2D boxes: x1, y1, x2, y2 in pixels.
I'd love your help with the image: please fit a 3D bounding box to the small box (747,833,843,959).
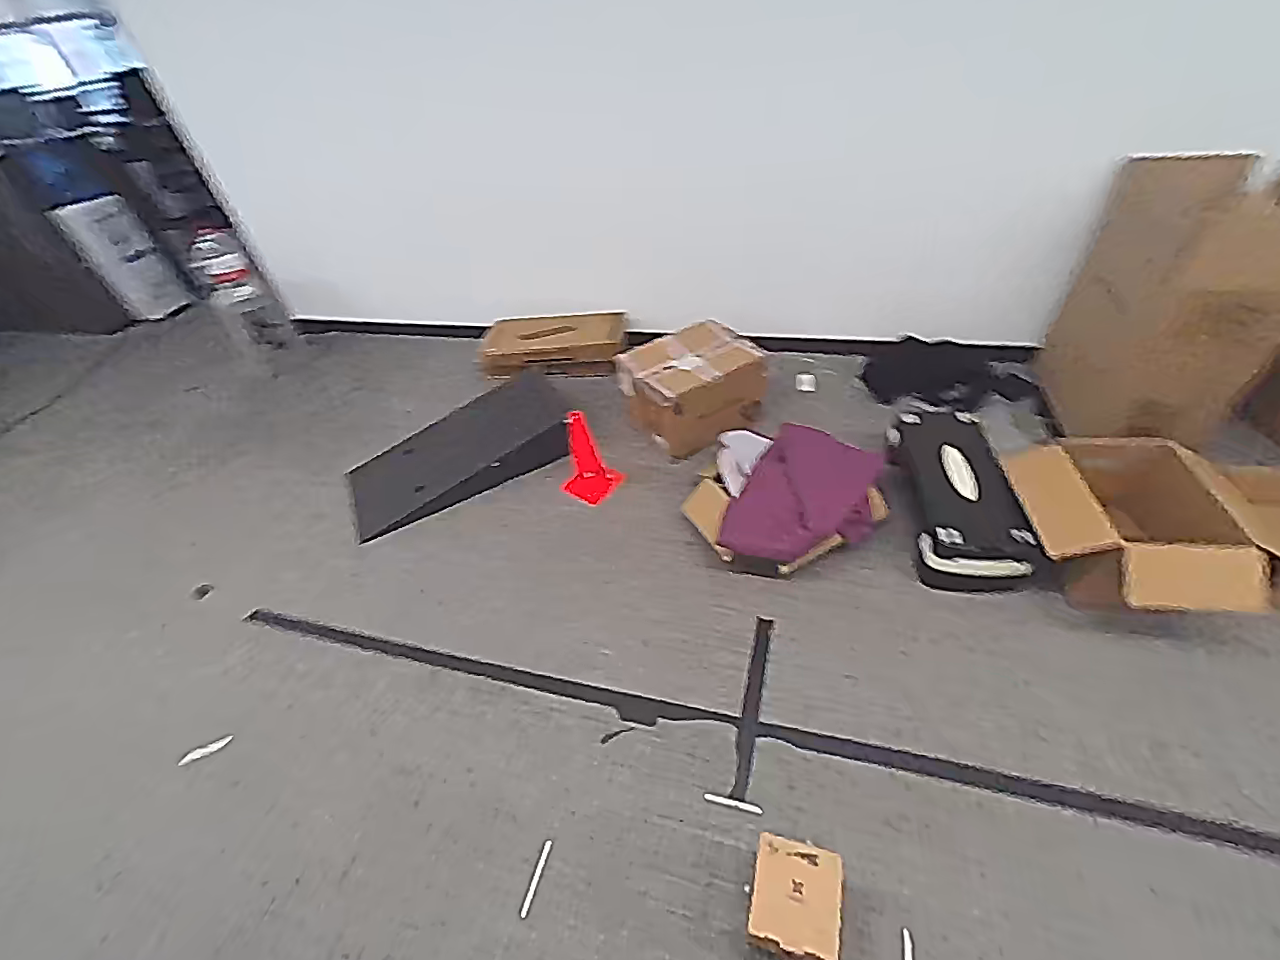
[{"bbox_3d":[0.318,0.871,1.116,0.168,0.176,0.179,9,47,18],"label":"small box"}]
